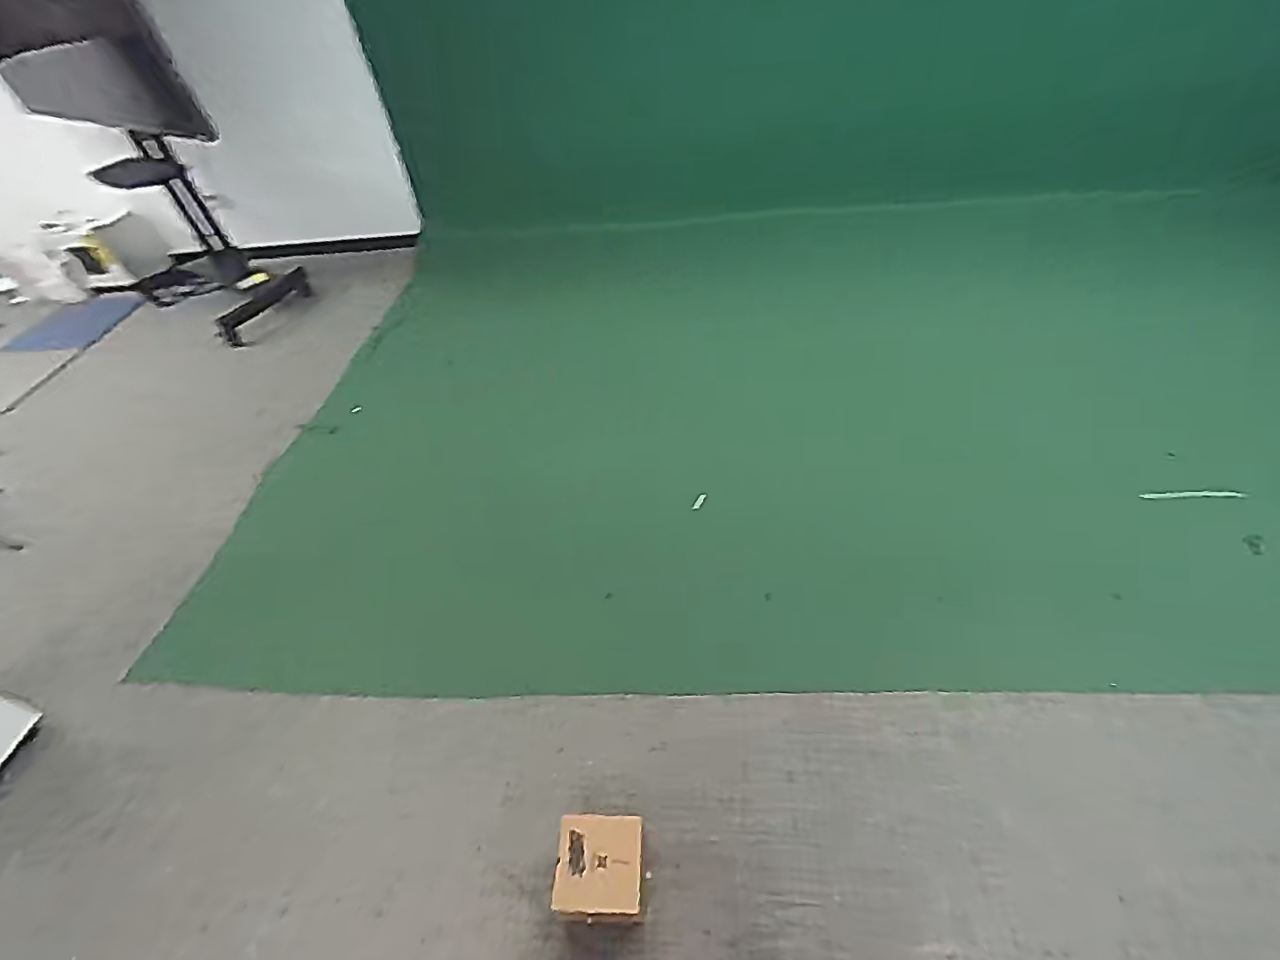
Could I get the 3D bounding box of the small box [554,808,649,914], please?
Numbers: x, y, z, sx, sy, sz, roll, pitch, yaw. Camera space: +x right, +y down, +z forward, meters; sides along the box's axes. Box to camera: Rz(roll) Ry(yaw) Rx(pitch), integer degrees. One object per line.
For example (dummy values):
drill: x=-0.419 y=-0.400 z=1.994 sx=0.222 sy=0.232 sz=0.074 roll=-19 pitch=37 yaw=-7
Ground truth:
small box: x=-0.074 y=0.818 z=1.159 sx=0.179 sy=0.176 sz=0.168 roll=-2 pitch=47 yaw=3
